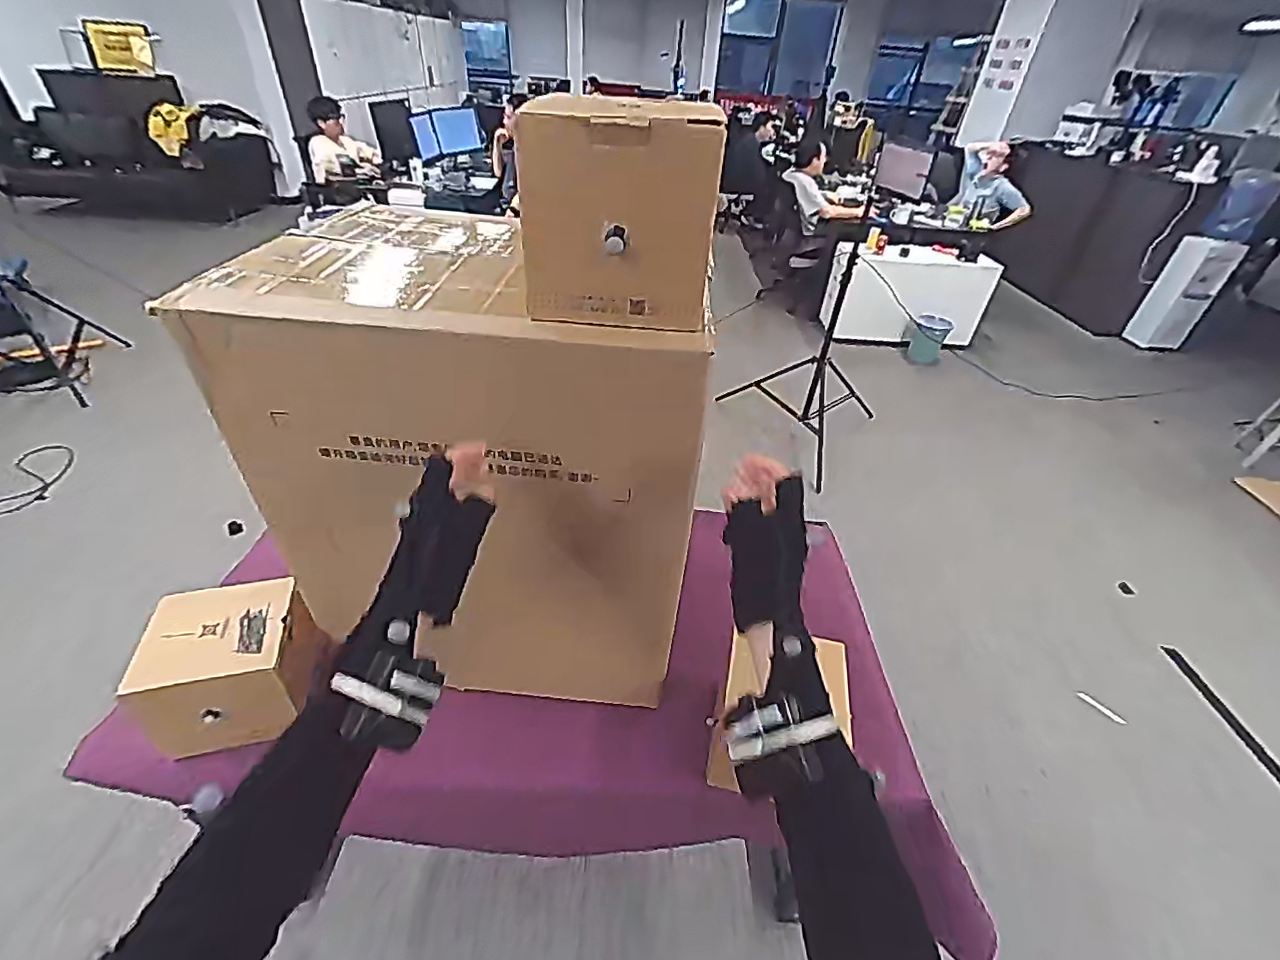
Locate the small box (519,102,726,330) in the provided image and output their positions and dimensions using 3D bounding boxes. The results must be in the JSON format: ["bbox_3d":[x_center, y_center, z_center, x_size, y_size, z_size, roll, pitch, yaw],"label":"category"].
[{"bbox_3d":[-0.011,-0.260,0.531,0.168,0.176,0.179,4,39,1],"label":"small box"}]

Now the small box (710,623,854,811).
[{"bbox_3d":[0.200,0.346,0.792,0.168,0.176,0.179,11,36,8],"label":"small box"}]
